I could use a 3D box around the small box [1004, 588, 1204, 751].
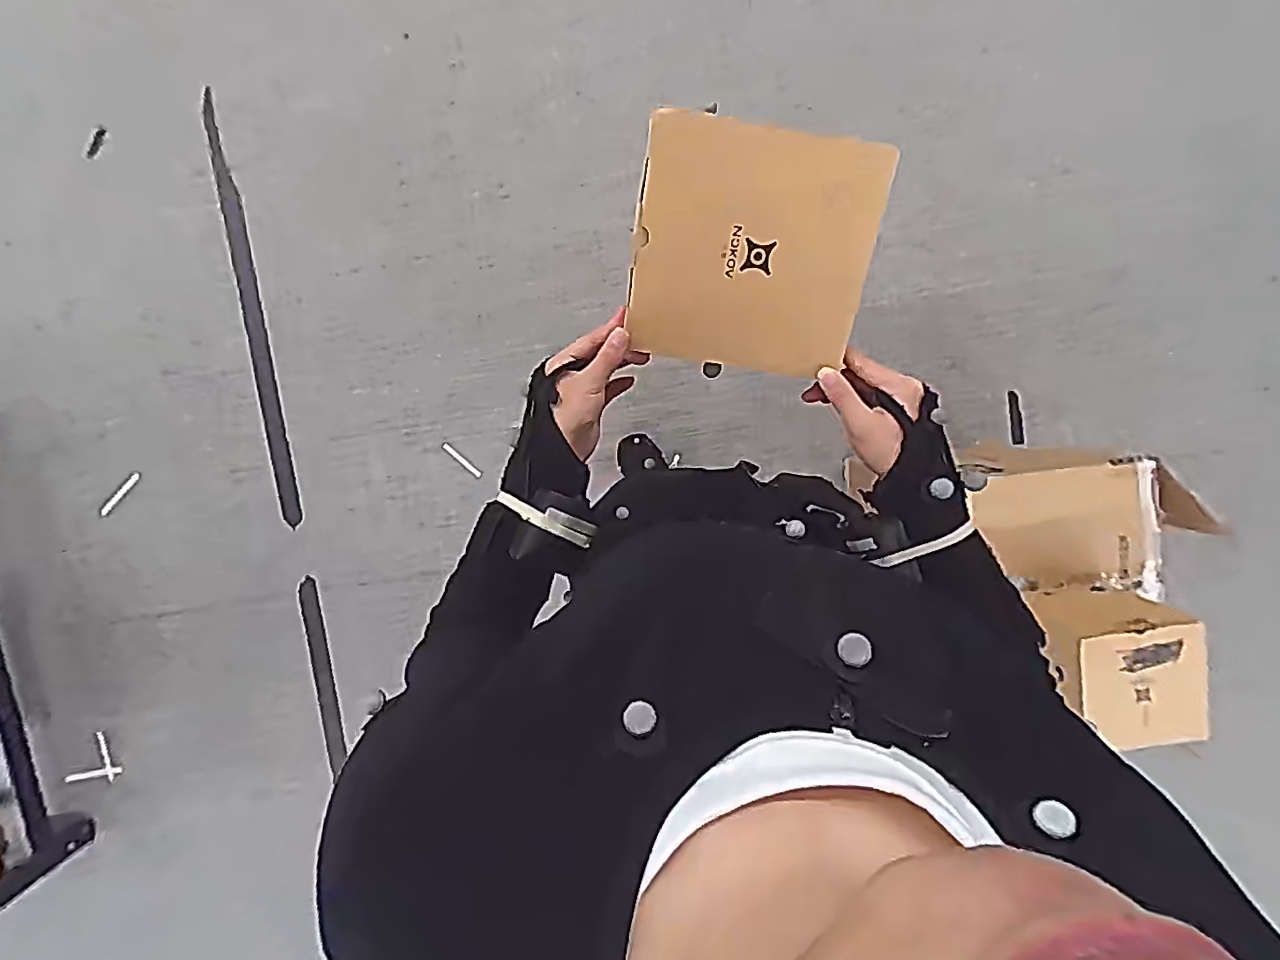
[{"bbox_3d":[0.686,0.272,0.818,0.168,0.176,0.179,-9,97,3],"label":"small box"}]

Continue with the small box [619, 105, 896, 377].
[{"bbox_3d":[0.082,-0.199,0.471,0.179,0.176,0.168,8,112,-1],"label":"small box"}]
